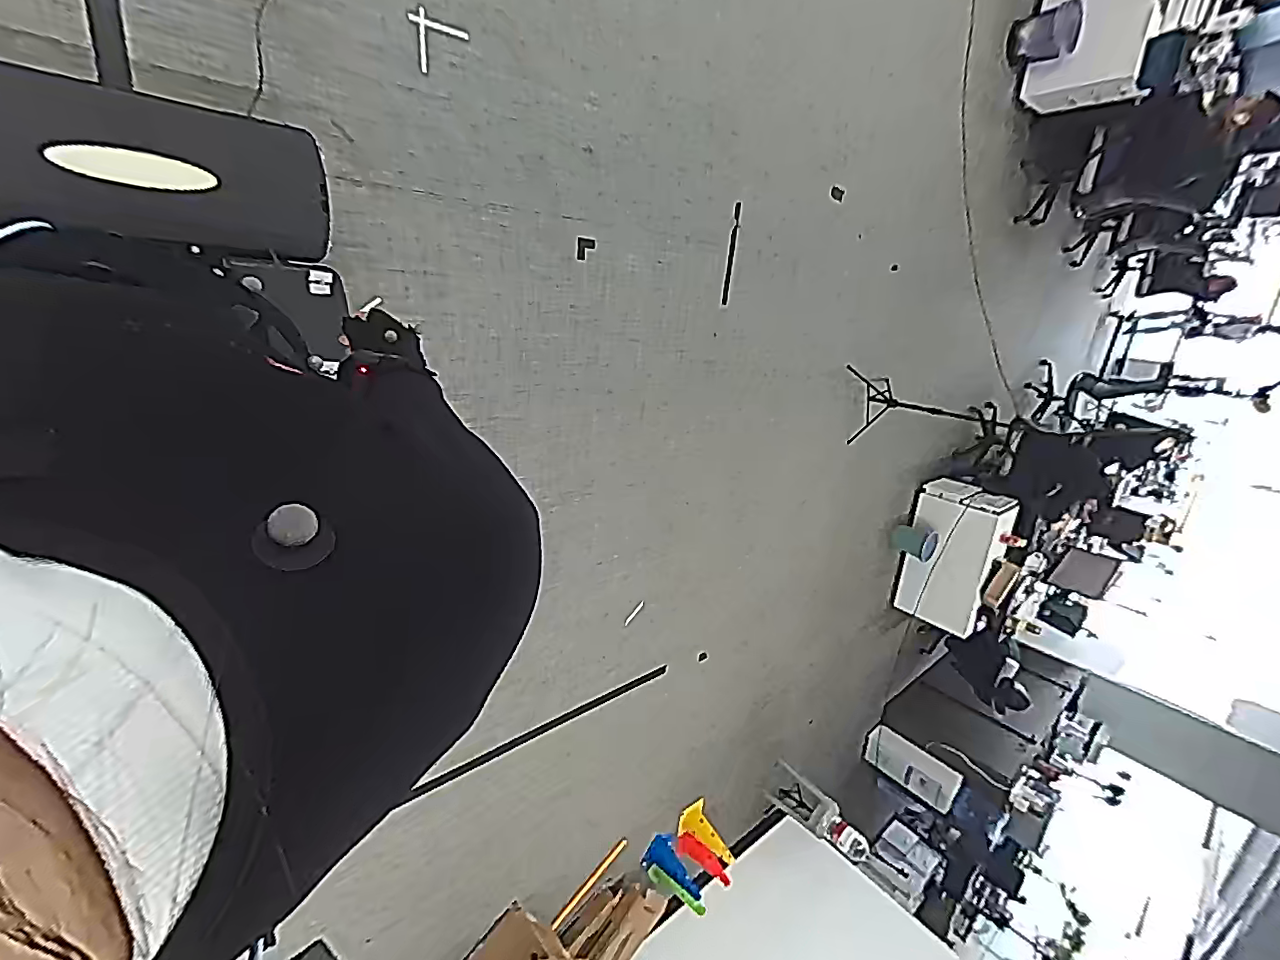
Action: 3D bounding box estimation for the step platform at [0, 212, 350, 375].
[{"bbox_3d":[-0.996,-0.375,1.133,0.684,0.204,0.286,-11,113,-37],"label":"step platform"}]
